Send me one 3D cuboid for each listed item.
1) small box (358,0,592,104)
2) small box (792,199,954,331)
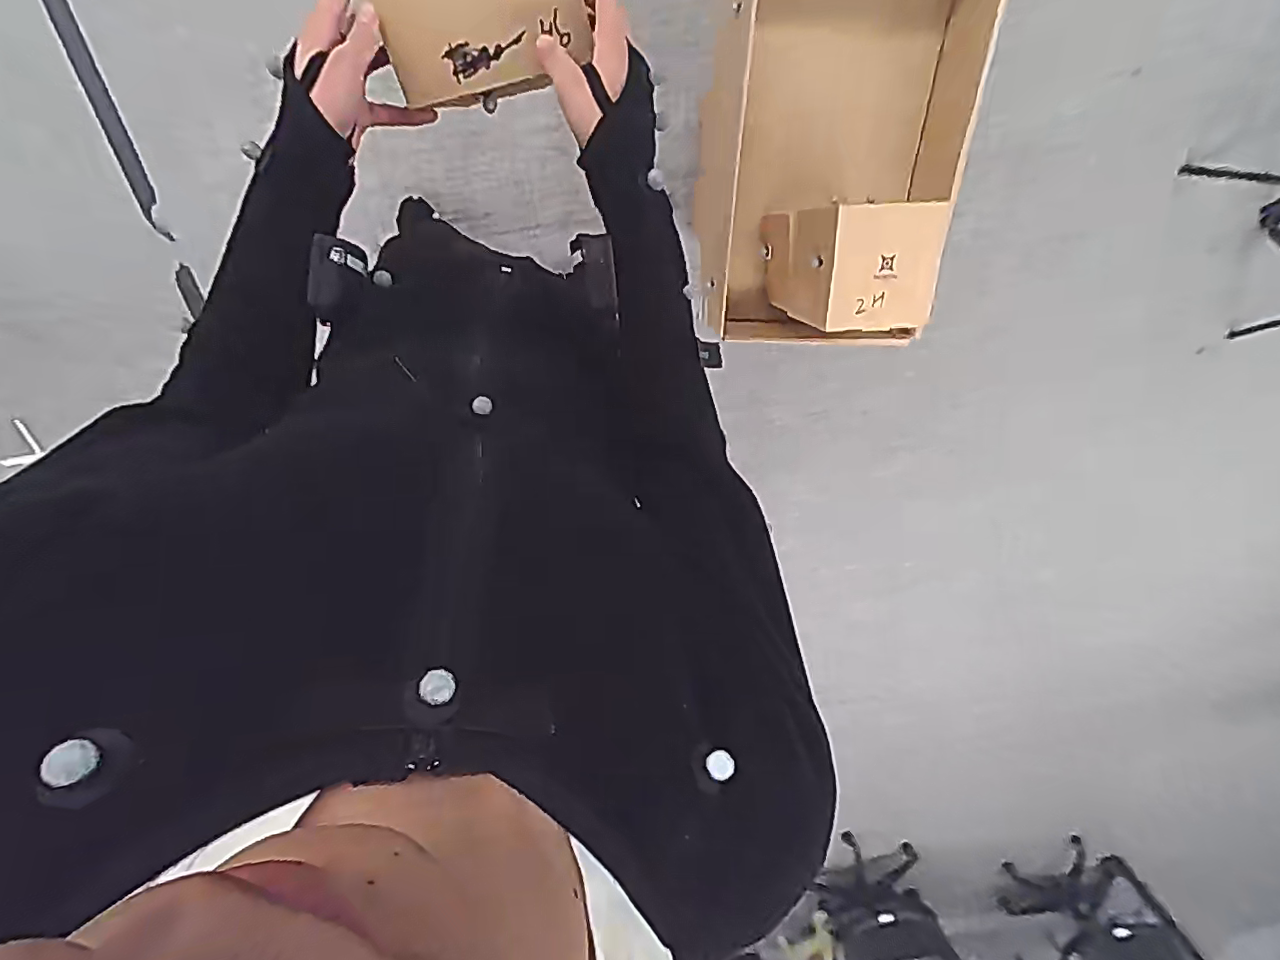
[{"bbox_3d":[-0.141,-0.440,0.459,0.168,0.176,0.179,-10,125,5],"label":"small box"},{"bbox_3d":[0.350,-0.339,0.853,0.168,0.176,0.179,-3,116,-4],"label":"small box"}]
